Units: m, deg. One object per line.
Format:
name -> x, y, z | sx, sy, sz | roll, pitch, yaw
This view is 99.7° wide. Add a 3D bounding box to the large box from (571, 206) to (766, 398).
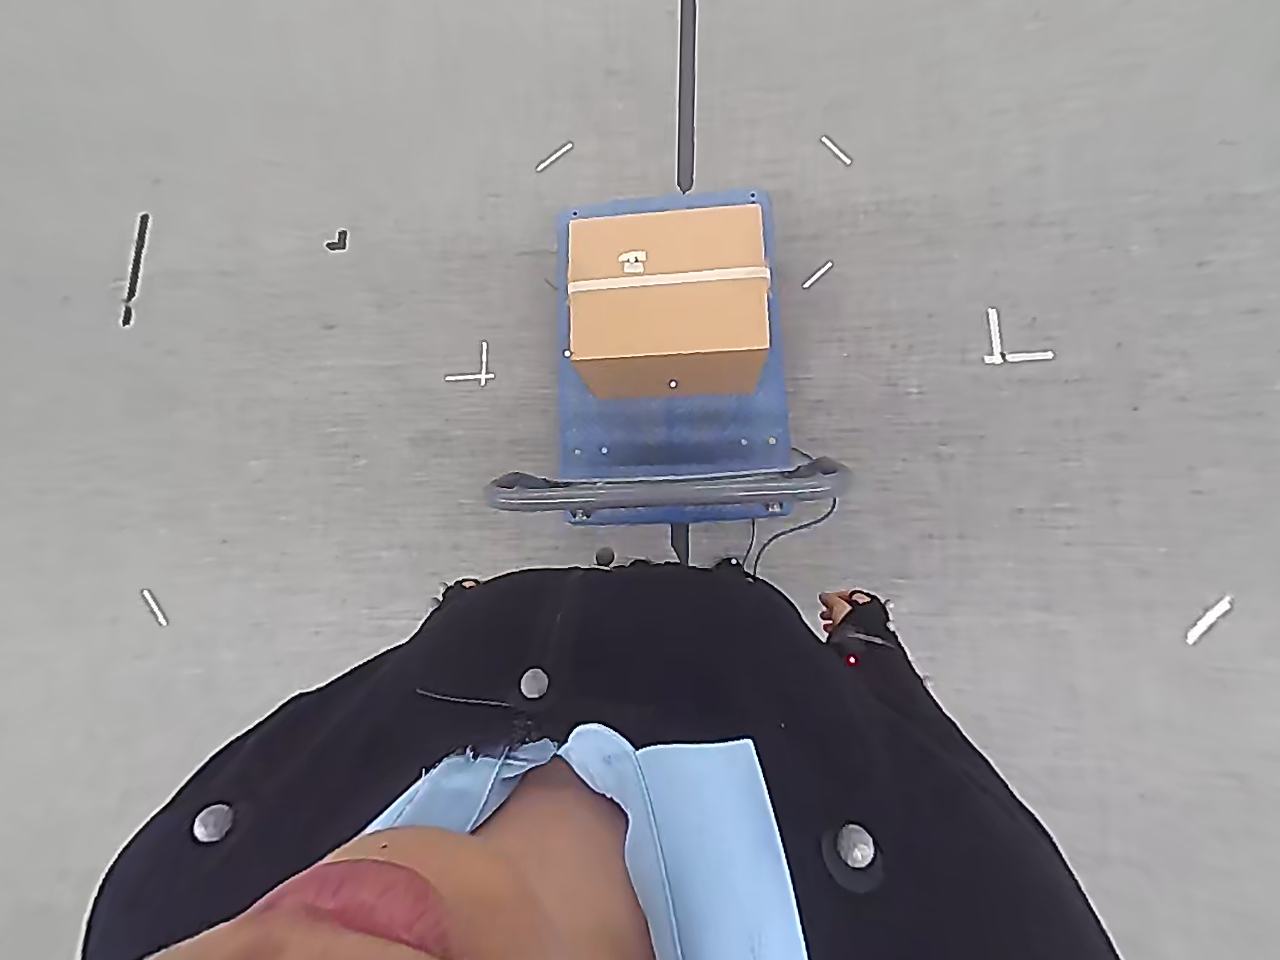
large box -> 0.072, -0.391, 1.274 | 0.408, 0.320, 0.320 | -3, 81, 7
